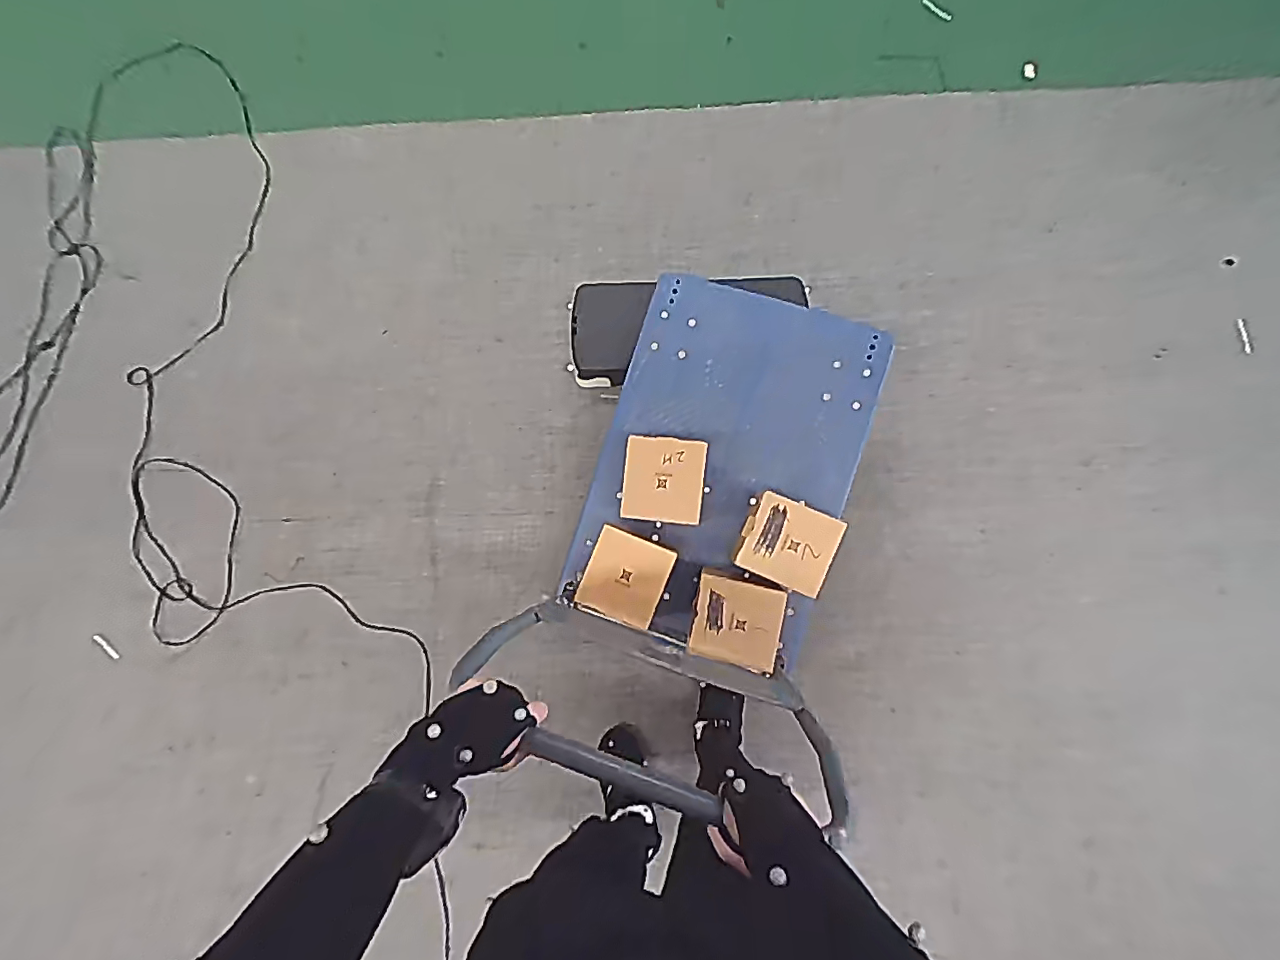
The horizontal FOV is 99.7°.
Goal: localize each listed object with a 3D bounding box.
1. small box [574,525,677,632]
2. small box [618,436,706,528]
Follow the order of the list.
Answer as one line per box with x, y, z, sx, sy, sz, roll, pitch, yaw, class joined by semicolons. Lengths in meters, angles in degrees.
-0.026;0.207;1.192;0.168;0.176;0.179;22;89;6;small box
0.053;0.007;1.193;0.168;0.176;0.179;7;87;6;small box
